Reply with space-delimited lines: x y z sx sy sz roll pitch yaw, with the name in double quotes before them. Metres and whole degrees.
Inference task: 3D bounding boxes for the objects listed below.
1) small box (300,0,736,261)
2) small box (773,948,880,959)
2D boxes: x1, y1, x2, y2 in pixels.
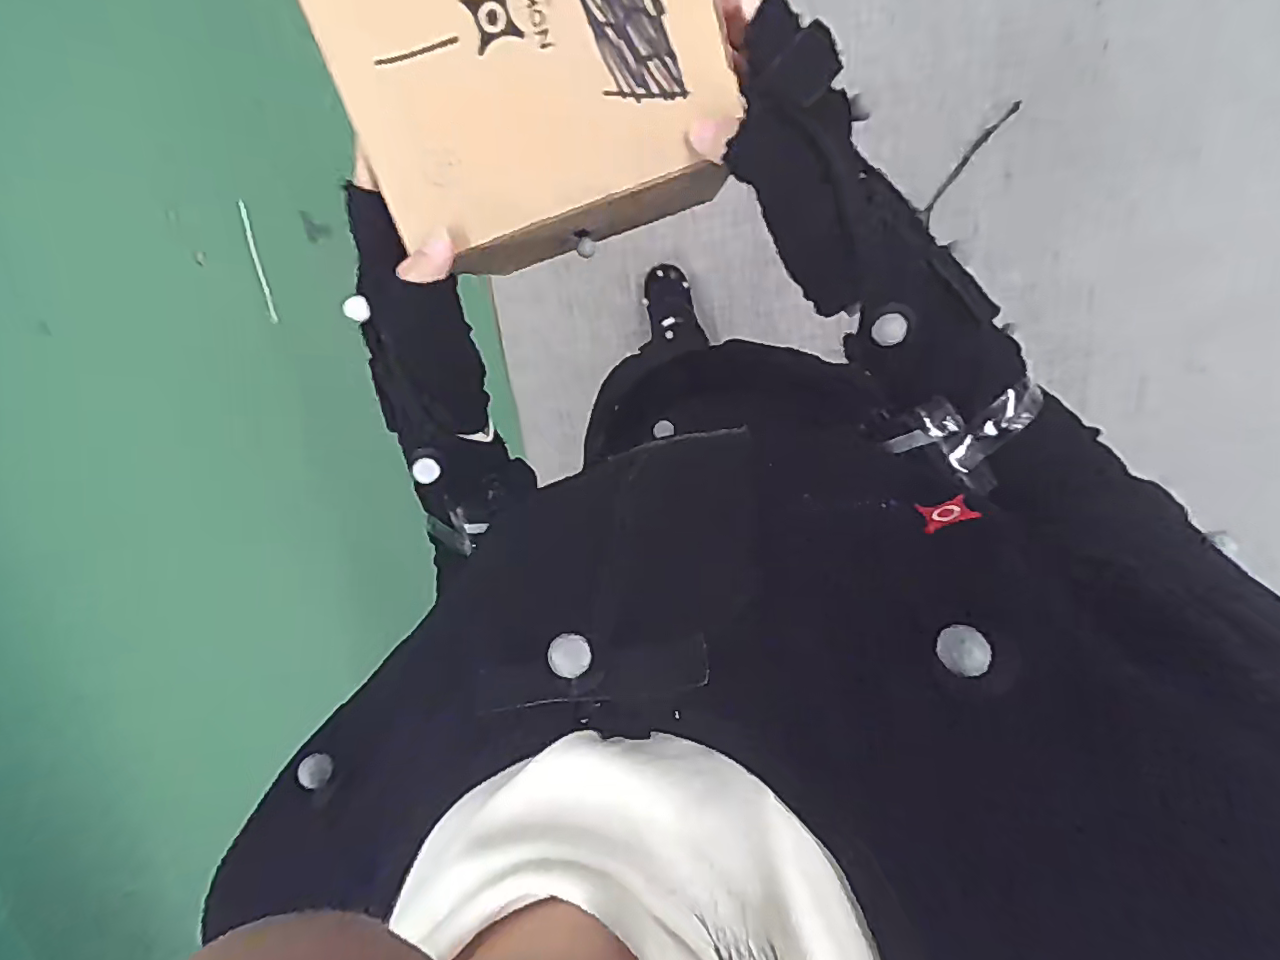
"small box" -0.058 -0.238 0.313 0.179 0.176 0.168 -16 108 8
"small box" 0.285 0.835 0.792 0.179 0.176 0.168 -7 106 12
